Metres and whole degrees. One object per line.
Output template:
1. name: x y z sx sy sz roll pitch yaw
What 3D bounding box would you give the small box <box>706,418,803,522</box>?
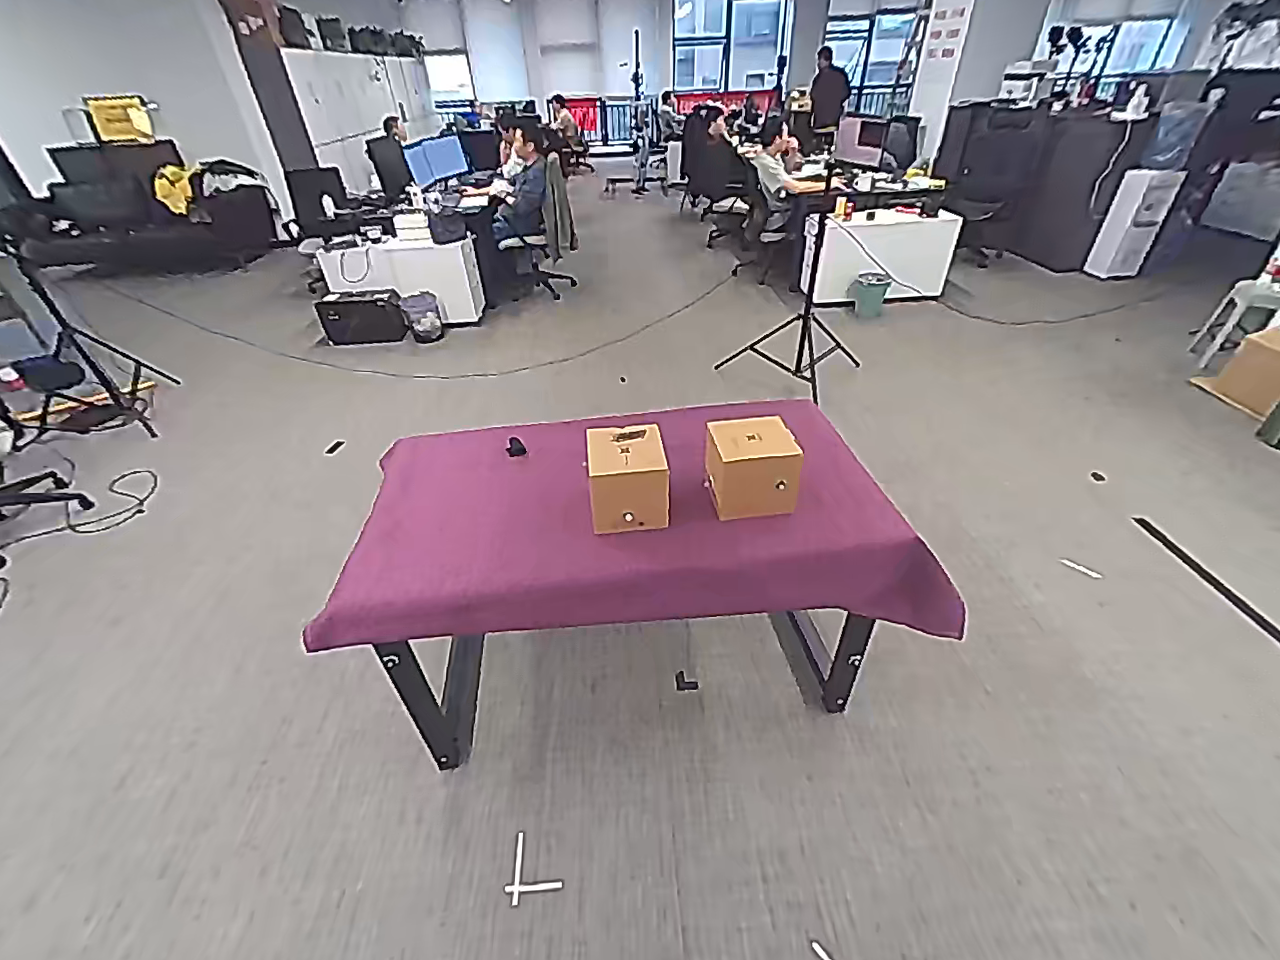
1. small box: 0.255 -0.022 1.244 0.179 0.176 0.168 -8 35 -4

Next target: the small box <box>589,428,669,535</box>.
1. small box: -0.028 0.003 1.226 0.168 0.176 0.179 -6 37 -3
